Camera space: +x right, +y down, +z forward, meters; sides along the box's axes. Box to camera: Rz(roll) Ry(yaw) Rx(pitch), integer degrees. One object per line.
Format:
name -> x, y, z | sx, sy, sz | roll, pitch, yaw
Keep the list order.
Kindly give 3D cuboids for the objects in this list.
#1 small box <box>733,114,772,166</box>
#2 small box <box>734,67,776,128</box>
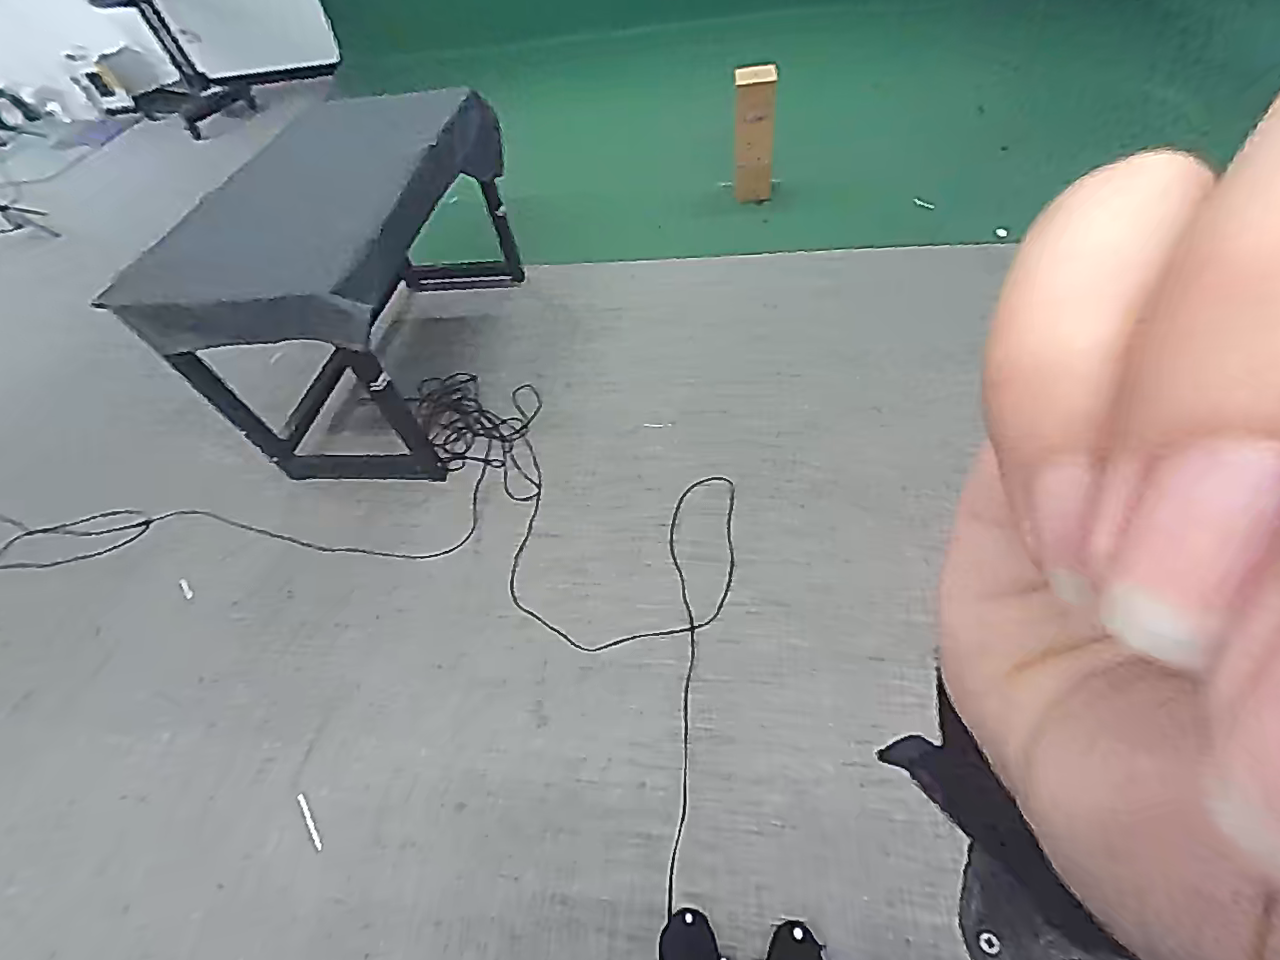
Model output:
small box -> 0.513, -1.563, 2.479 | 0.168, 0.176, 0.179 | -1, 53, 8
small box -> 0.497, -1.661, 2.350 | 0.168, 0.176, 0.179 | -2, 54, 9
